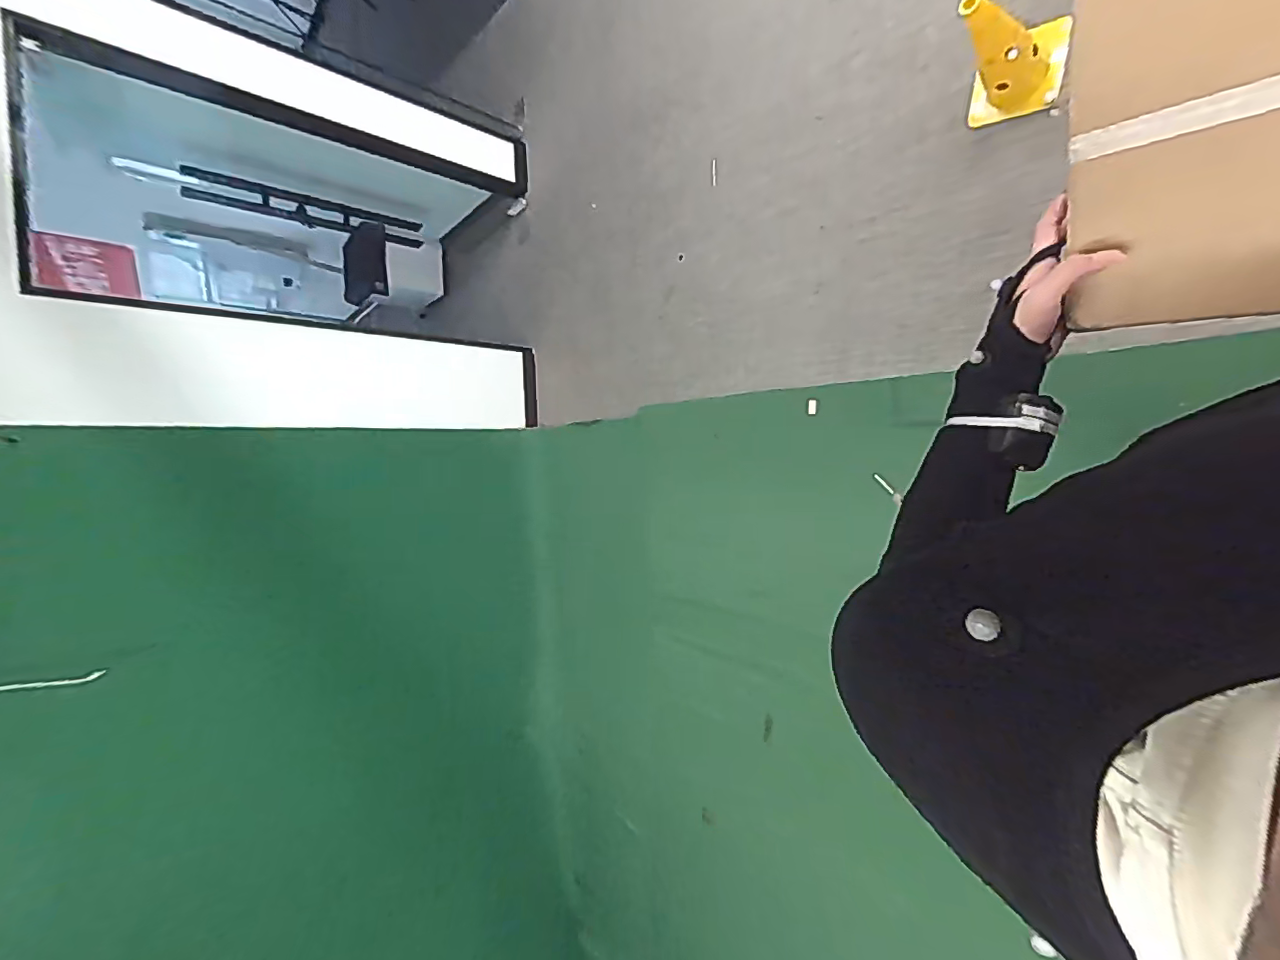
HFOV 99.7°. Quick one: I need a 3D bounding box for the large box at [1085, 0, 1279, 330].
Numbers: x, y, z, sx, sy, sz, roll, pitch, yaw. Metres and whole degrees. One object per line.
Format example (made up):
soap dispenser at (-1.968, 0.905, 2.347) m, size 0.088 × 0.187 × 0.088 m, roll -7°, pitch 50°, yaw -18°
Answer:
large box at (0.629, -0.320, 0.415) m, size 0.408 × 0.320 × 0.320 m, roll 7°, pitch 116°, yaw 49°
